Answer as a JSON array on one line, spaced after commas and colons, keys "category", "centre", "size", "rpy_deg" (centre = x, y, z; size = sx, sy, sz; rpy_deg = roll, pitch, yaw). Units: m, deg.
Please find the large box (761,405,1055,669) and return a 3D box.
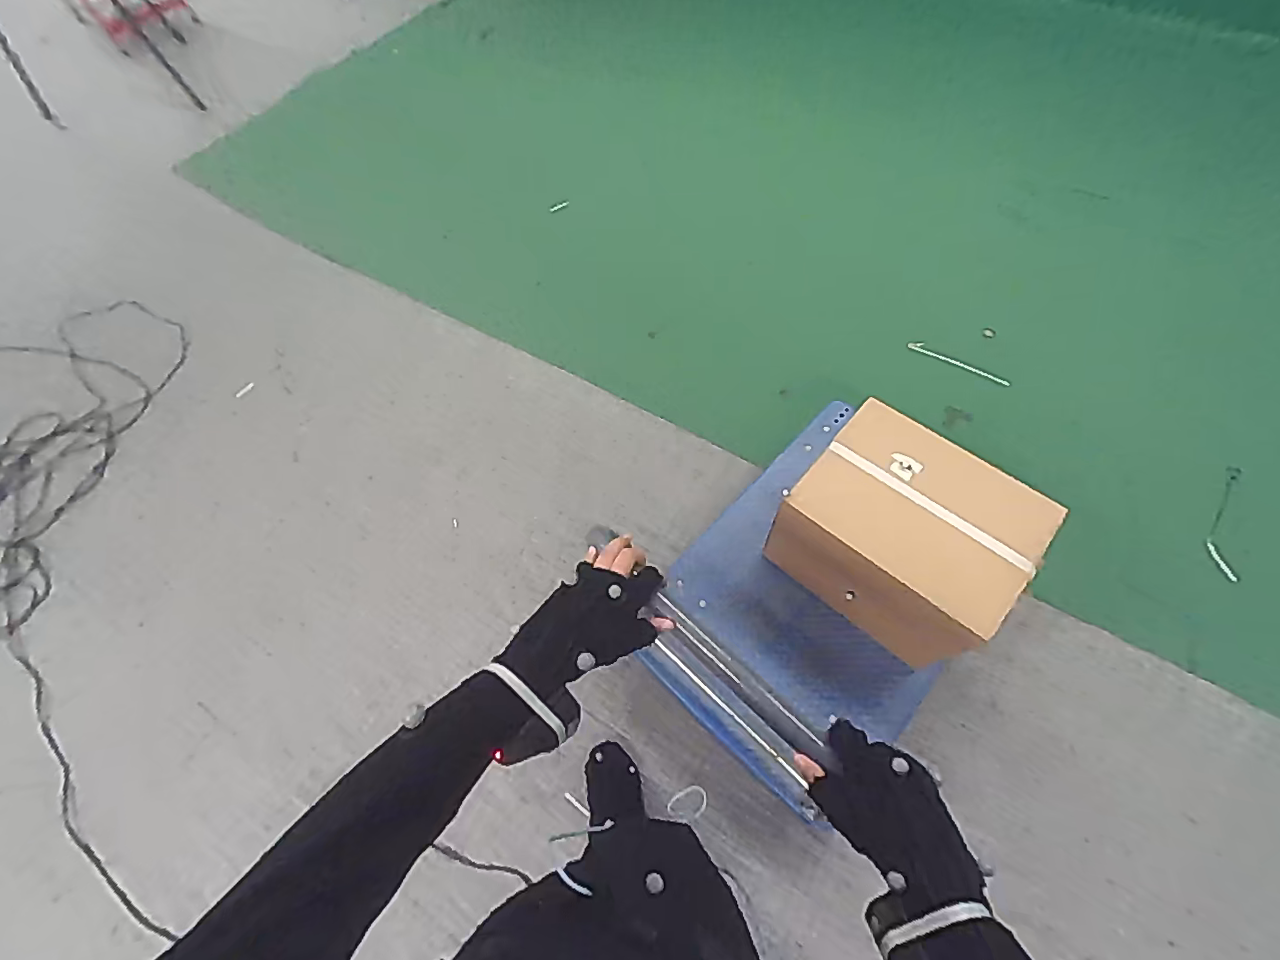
[{"category": "large box", "centre": [0.519, 0.125, 1.131], "size": [0.408, 0.320, 0.320], "rpy_deg": [37, 70, 22]}]
